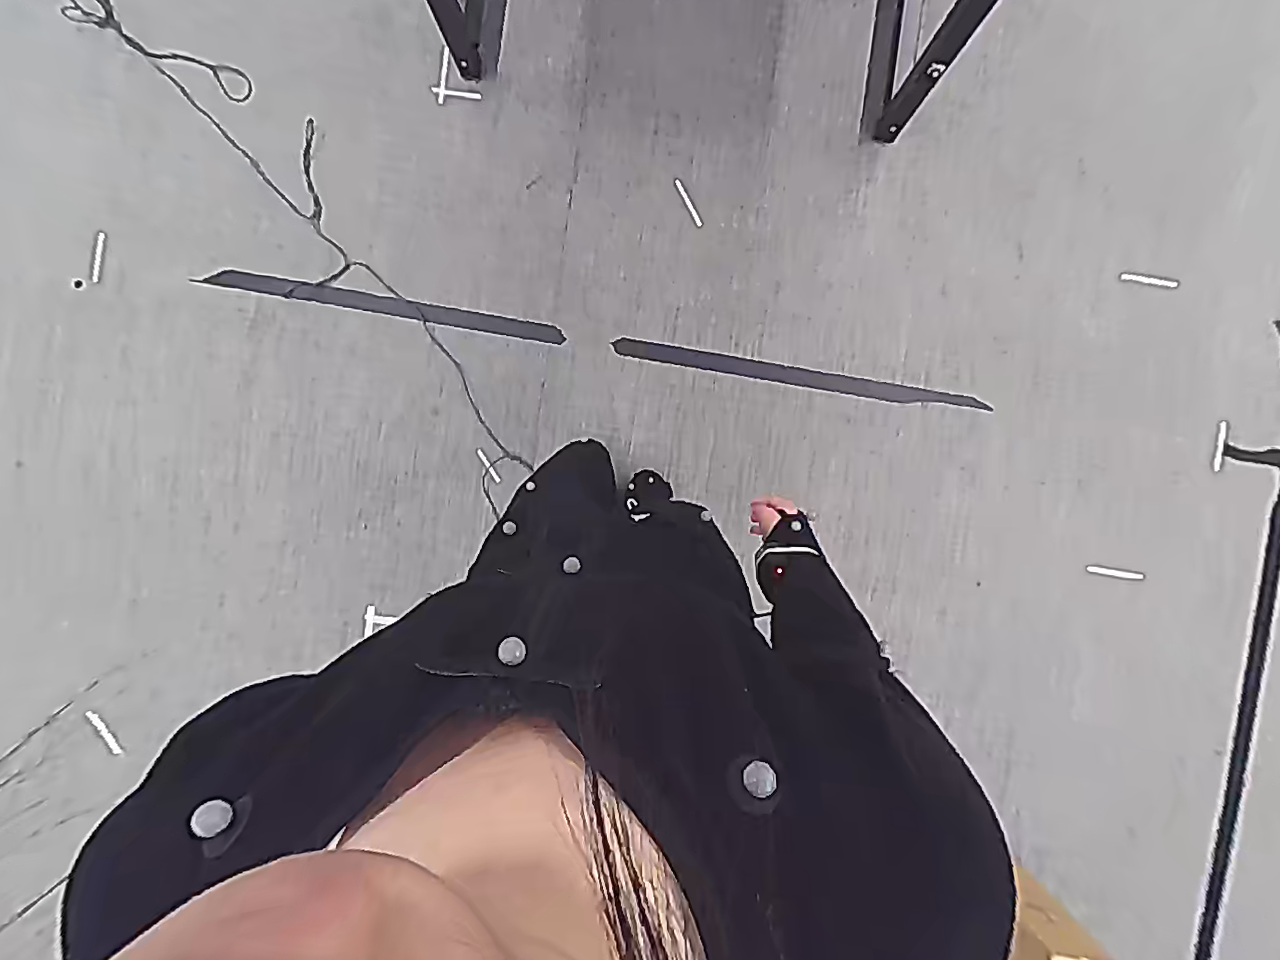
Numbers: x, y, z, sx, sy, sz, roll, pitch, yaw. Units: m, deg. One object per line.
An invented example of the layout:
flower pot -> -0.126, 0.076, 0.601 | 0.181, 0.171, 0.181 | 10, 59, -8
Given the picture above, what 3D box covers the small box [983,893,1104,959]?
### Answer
small box -> 0.945, 1.131, 1.267 | 0.168, 0.176, 0.179 | 13, 90, -1
